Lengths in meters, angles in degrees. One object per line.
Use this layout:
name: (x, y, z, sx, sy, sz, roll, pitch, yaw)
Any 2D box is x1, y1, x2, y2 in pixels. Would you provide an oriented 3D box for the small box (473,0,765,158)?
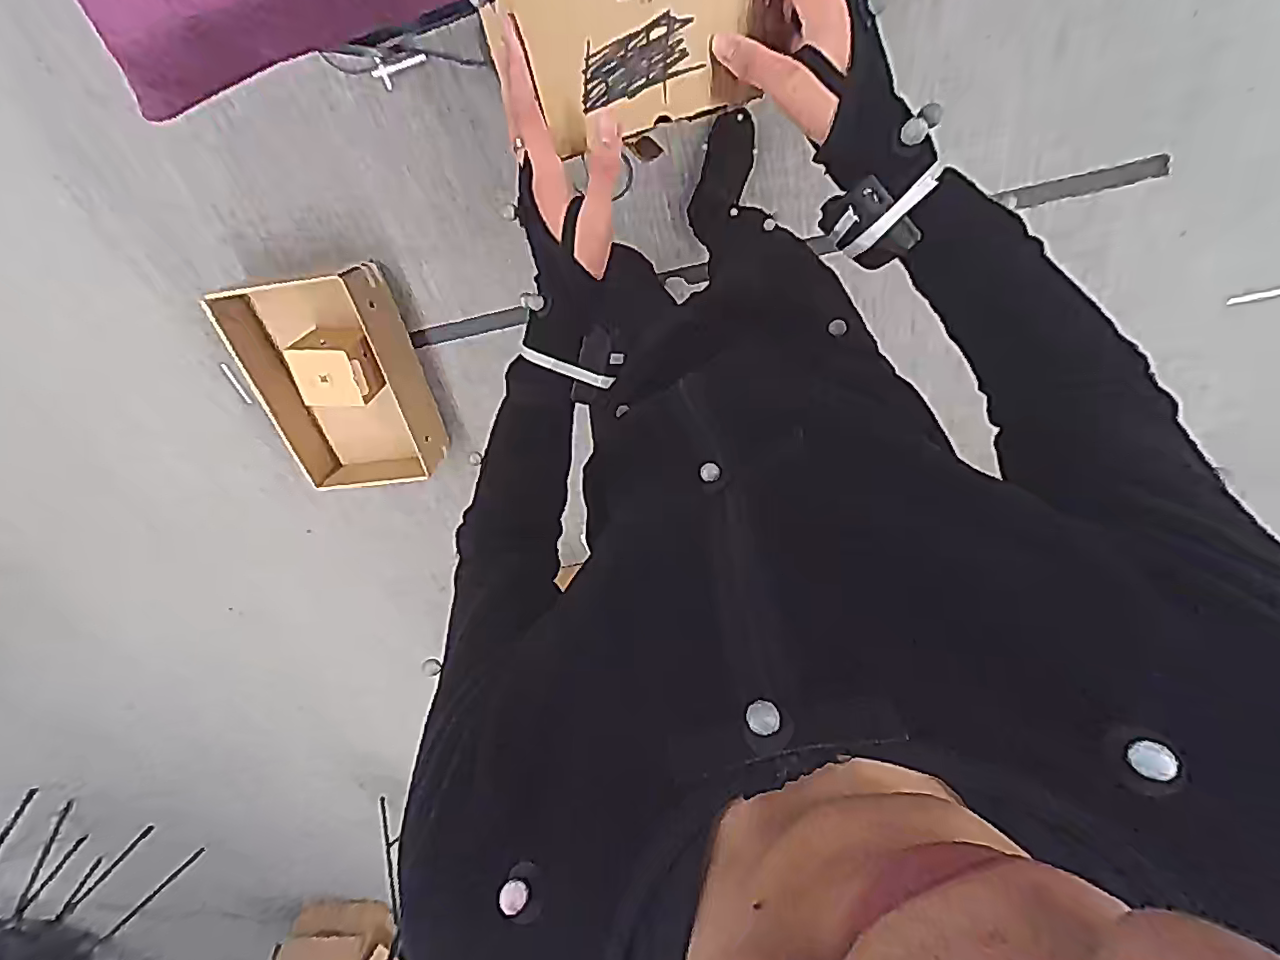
small box: (-0.028, -0.356, 0.379, 0.168, 0.176, 0.179, -22, 131, -7)

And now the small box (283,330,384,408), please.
small box: (-0.840, -0.313, 1.511, 0.179, 0.176, 0.168, 1, 125, 2)
